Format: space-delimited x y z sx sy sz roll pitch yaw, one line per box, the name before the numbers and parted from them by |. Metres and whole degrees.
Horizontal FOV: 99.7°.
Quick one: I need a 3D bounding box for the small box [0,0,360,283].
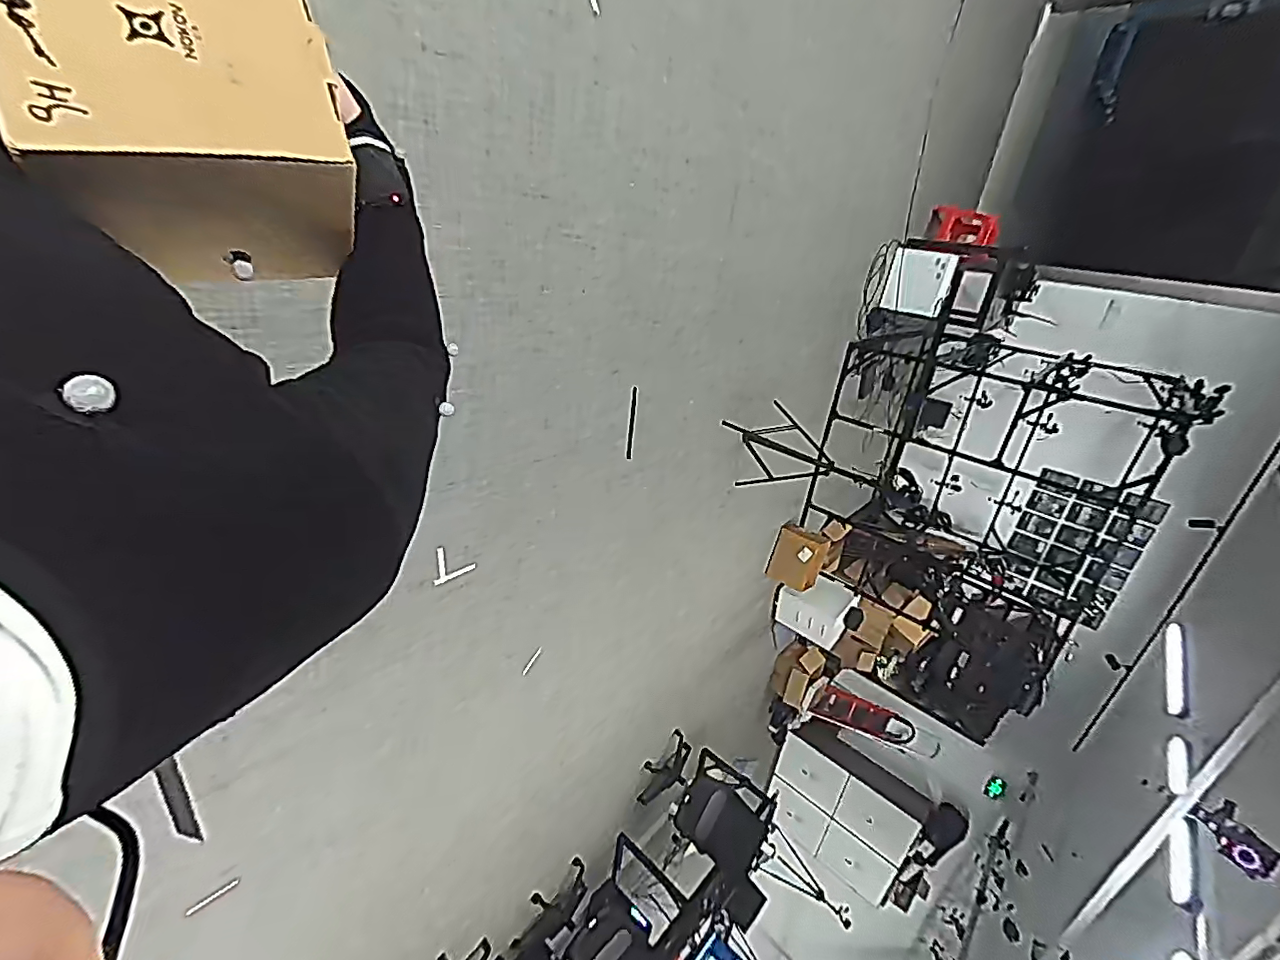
small box | -0.339 -0.271 0.423 0.179 0.176 0.168 -16 89 -31
